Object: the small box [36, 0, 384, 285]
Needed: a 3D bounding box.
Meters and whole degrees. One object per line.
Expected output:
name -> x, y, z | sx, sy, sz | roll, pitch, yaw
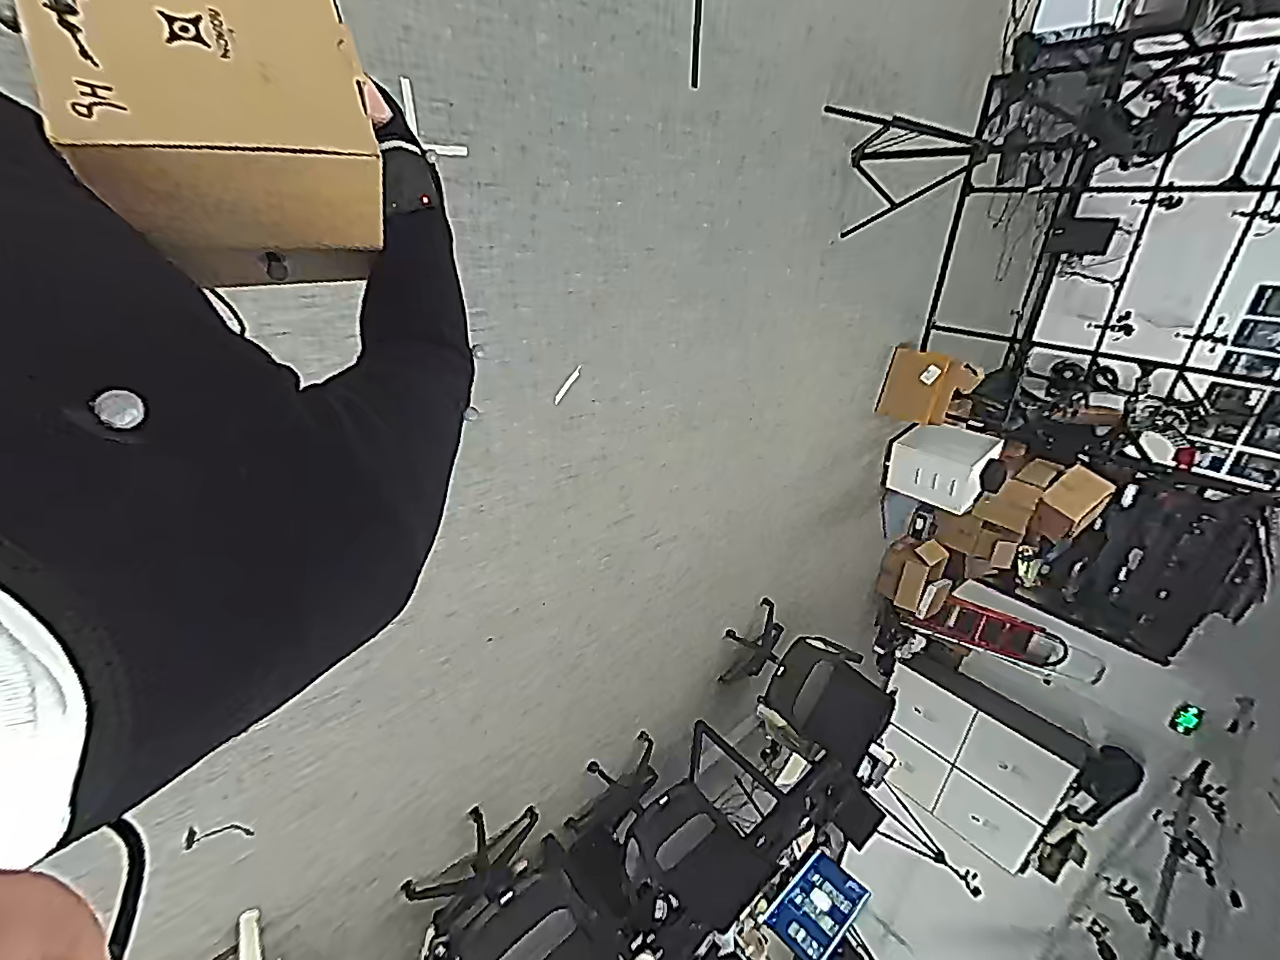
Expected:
small box -> -0.320, -0.275, 0.436 | 0.179, 0.176, 0.168 | -15, 85, -27
